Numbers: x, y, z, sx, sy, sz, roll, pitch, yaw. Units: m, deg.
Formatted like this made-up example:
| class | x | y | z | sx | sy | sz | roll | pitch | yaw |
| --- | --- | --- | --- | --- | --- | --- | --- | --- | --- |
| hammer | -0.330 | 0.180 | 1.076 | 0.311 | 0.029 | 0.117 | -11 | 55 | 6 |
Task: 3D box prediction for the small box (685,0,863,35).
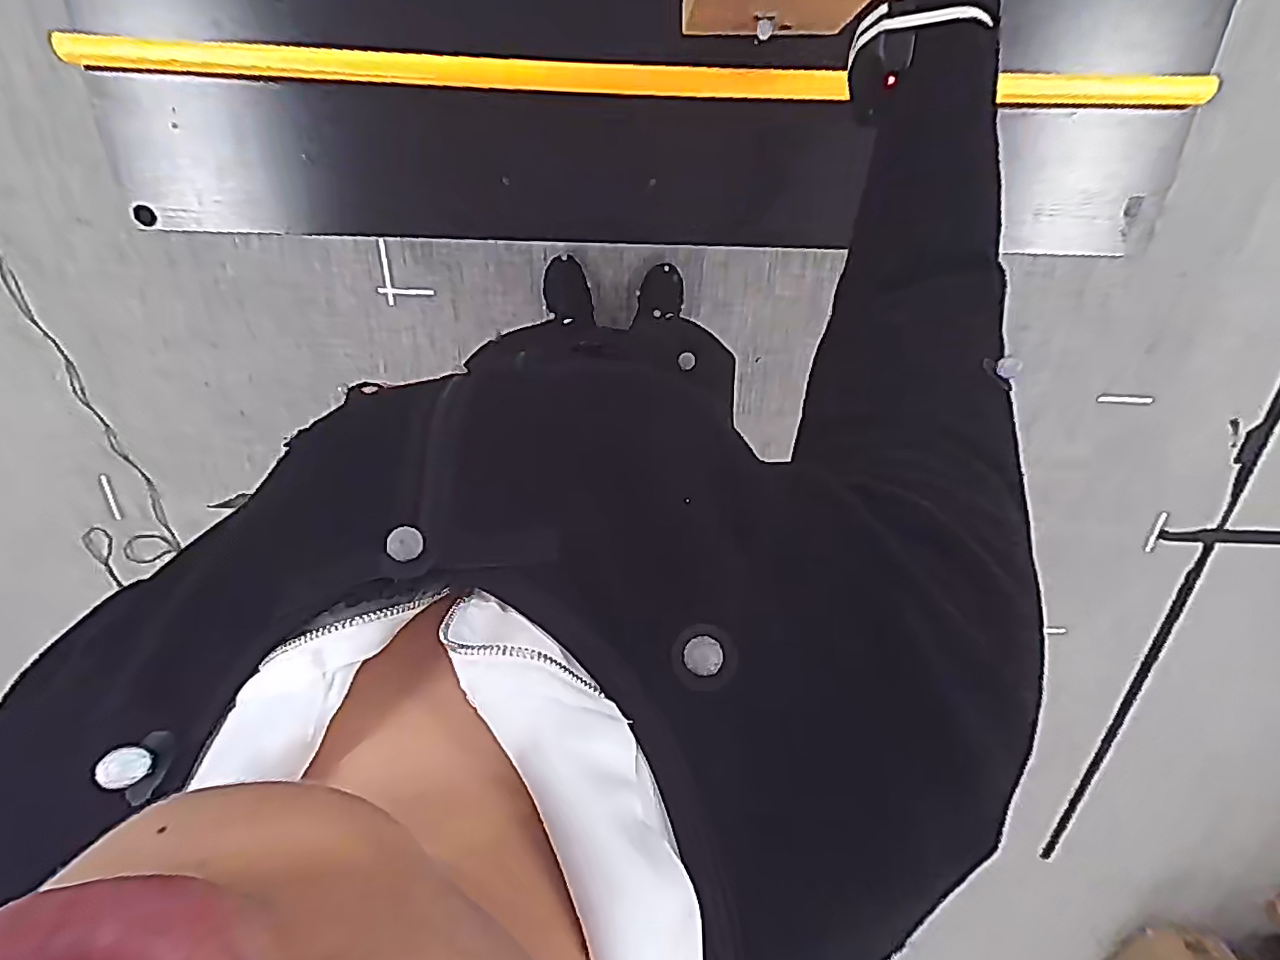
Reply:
| class | x | y | z | sx | sy | sz | roll | pitch | yaw |
| --- | --- | --- | --- | --- | --- | --- | --- | --- | --- |
| small box | 0.130 | -0.523 | 0.466 | 0.168 | 0.176 | 0.179 | -1 | 114 | -1 |
